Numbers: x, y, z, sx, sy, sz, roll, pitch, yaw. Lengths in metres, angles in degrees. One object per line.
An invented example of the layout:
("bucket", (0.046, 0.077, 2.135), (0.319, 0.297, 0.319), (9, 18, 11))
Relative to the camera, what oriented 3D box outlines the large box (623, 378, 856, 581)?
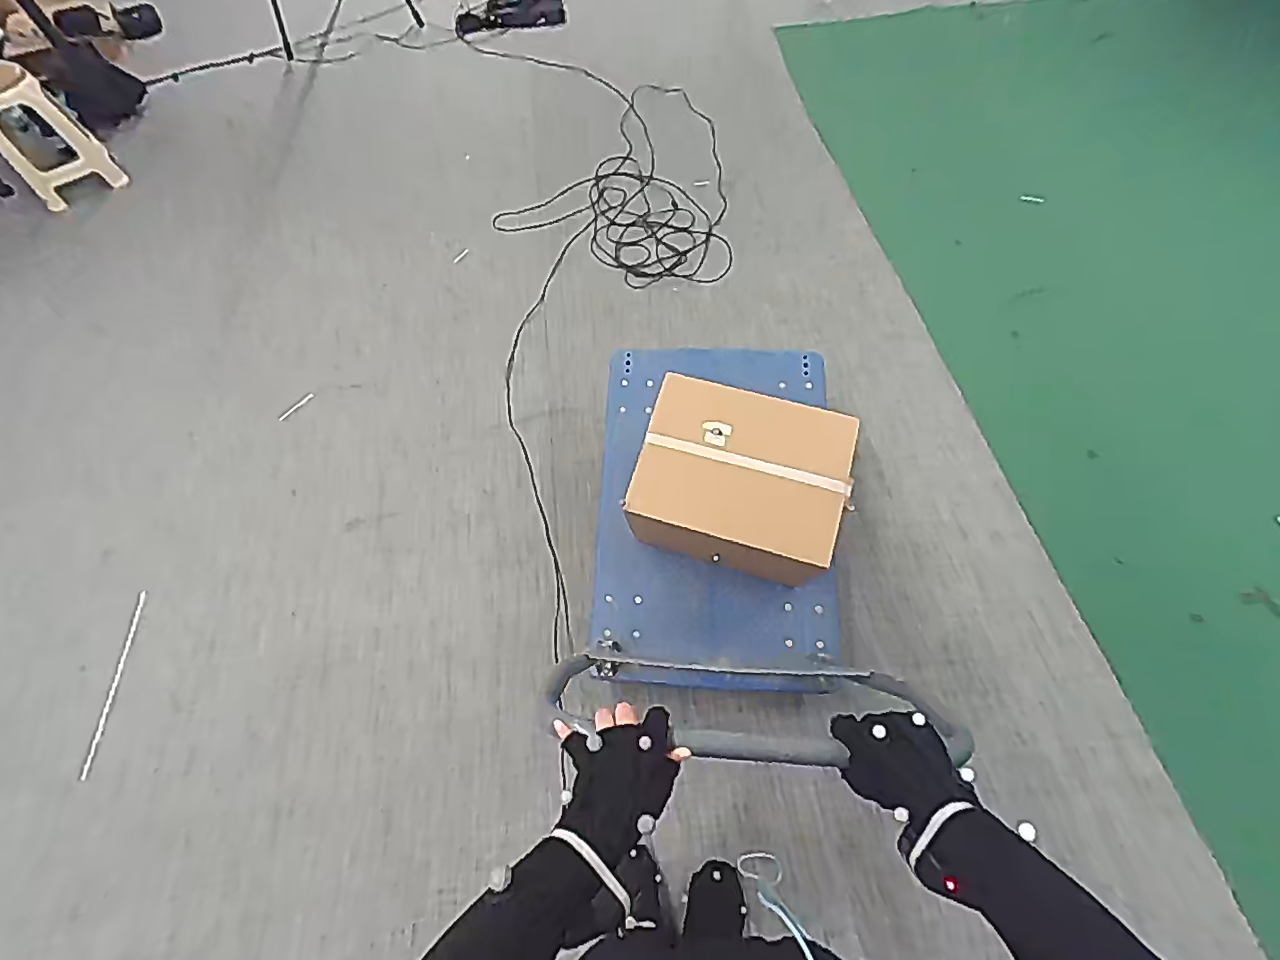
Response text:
("large box", (0.213, 0.014, 1.206), (0.408, 0.320, 0.320), (16, 75, 10))
